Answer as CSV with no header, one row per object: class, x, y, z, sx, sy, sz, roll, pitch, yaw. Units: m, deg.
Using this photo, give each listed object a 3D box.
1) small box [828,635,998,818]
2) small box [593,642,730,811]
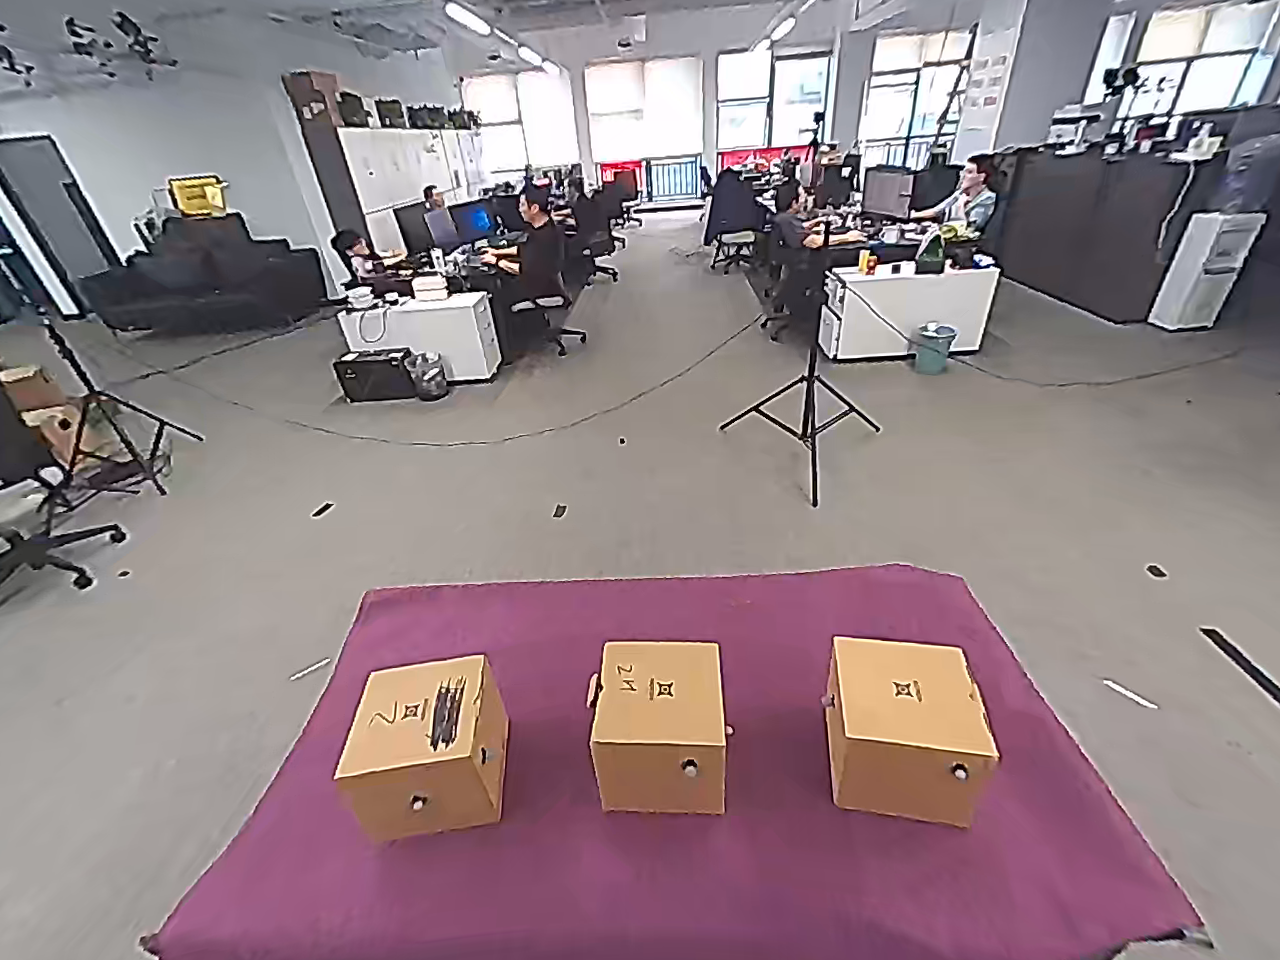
small box,0.365,0.345,0.765,0.179,0.176,0.168,2,33,12
small box,0.036,0.359,0.794,0.179,0.176,0.168,-2,32,6
